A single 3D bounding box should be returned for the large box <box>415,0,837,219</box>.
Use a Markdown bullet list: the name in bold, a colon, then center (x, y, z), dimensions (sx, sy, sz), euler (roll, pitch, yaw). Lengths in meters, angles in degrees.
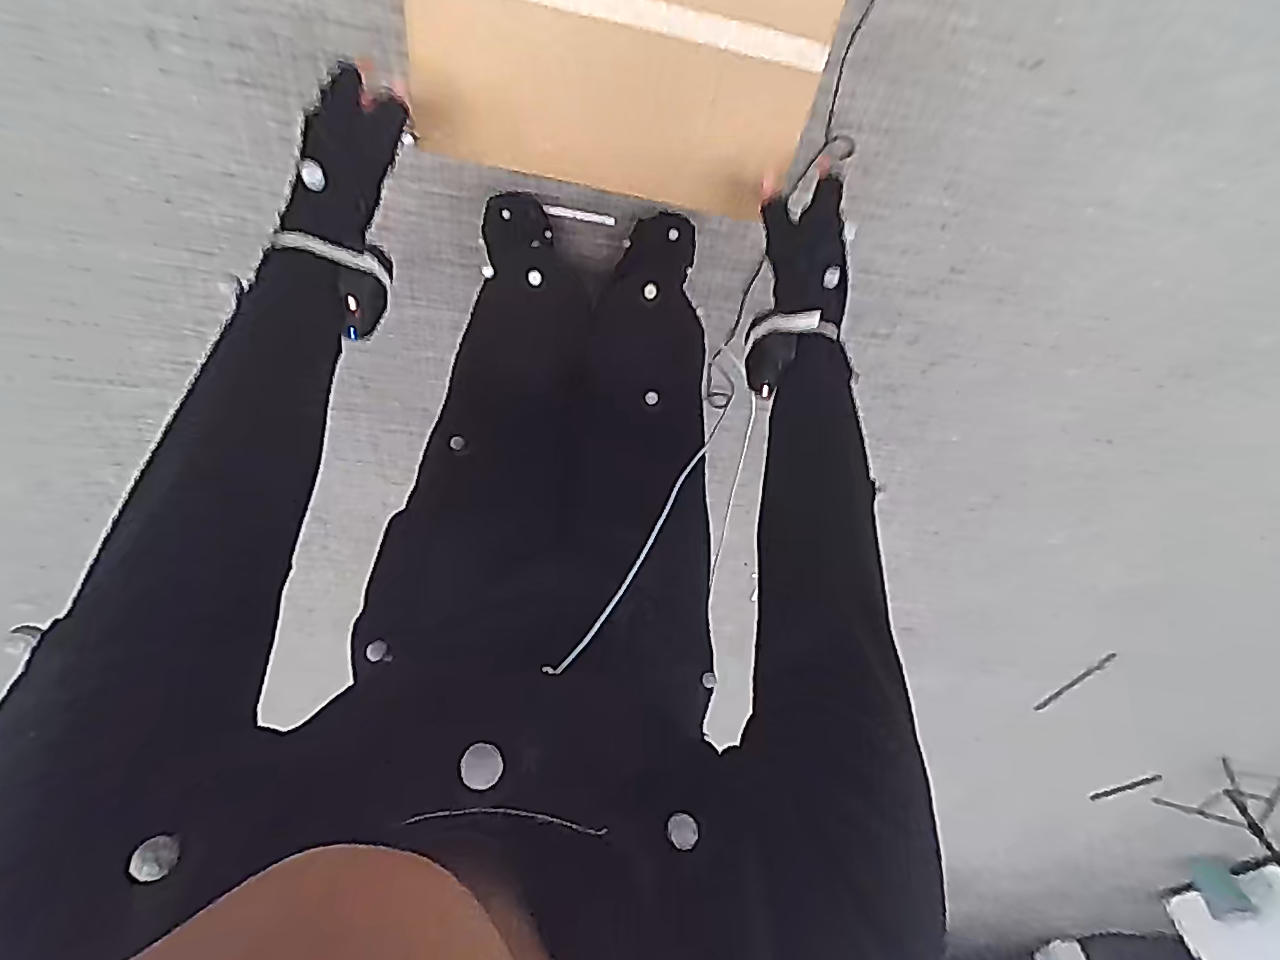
- **large box**: center (-0.012, -0.548, 0.632), dimensions (0.408, 0.320, 0.320), euler (9, 130, -7)
